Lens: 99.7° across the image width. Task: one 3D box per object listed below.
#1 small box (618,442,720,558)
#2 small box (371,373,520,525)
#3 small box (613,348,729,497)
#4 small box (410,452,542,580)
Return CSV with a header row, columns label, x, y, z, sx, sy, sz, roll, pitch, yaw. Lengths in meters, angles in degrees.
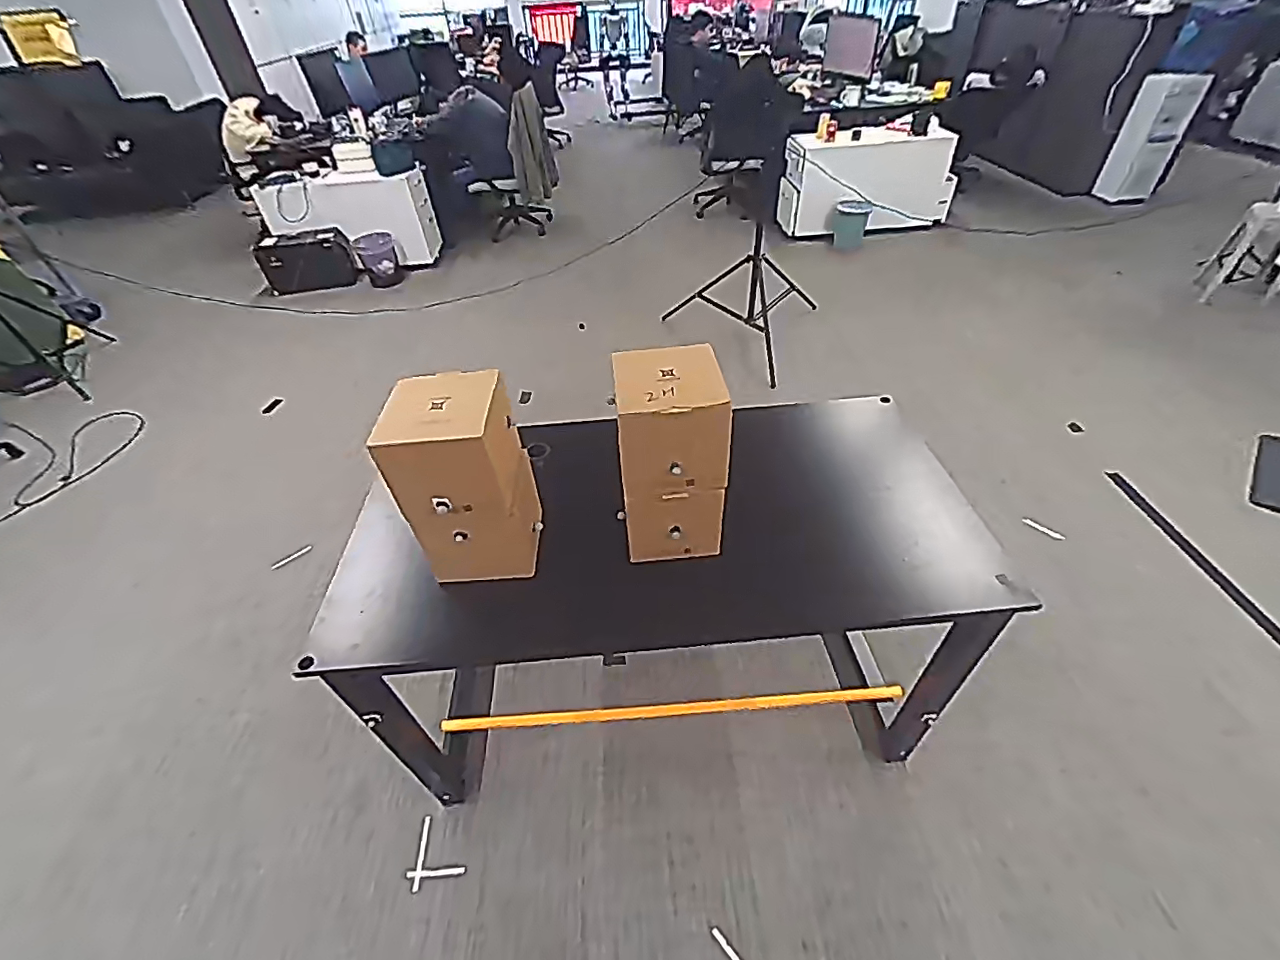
label,x,y,z,sx,sy,sz,roll,pitch,yaw
small box,0.051,0.030,0.997,0.168,0.176,0.179,-6,43,-1
small box,-0.295,-0.049,0.868,0.168,0.176,0.179,-6,44,0
small box,0.045,-0.095,0.889,0.168,0.176,0.179,-6,43,-1
small box,-0.284,0.068,0.980,0.179,0.176,0.168,-3,43,0
